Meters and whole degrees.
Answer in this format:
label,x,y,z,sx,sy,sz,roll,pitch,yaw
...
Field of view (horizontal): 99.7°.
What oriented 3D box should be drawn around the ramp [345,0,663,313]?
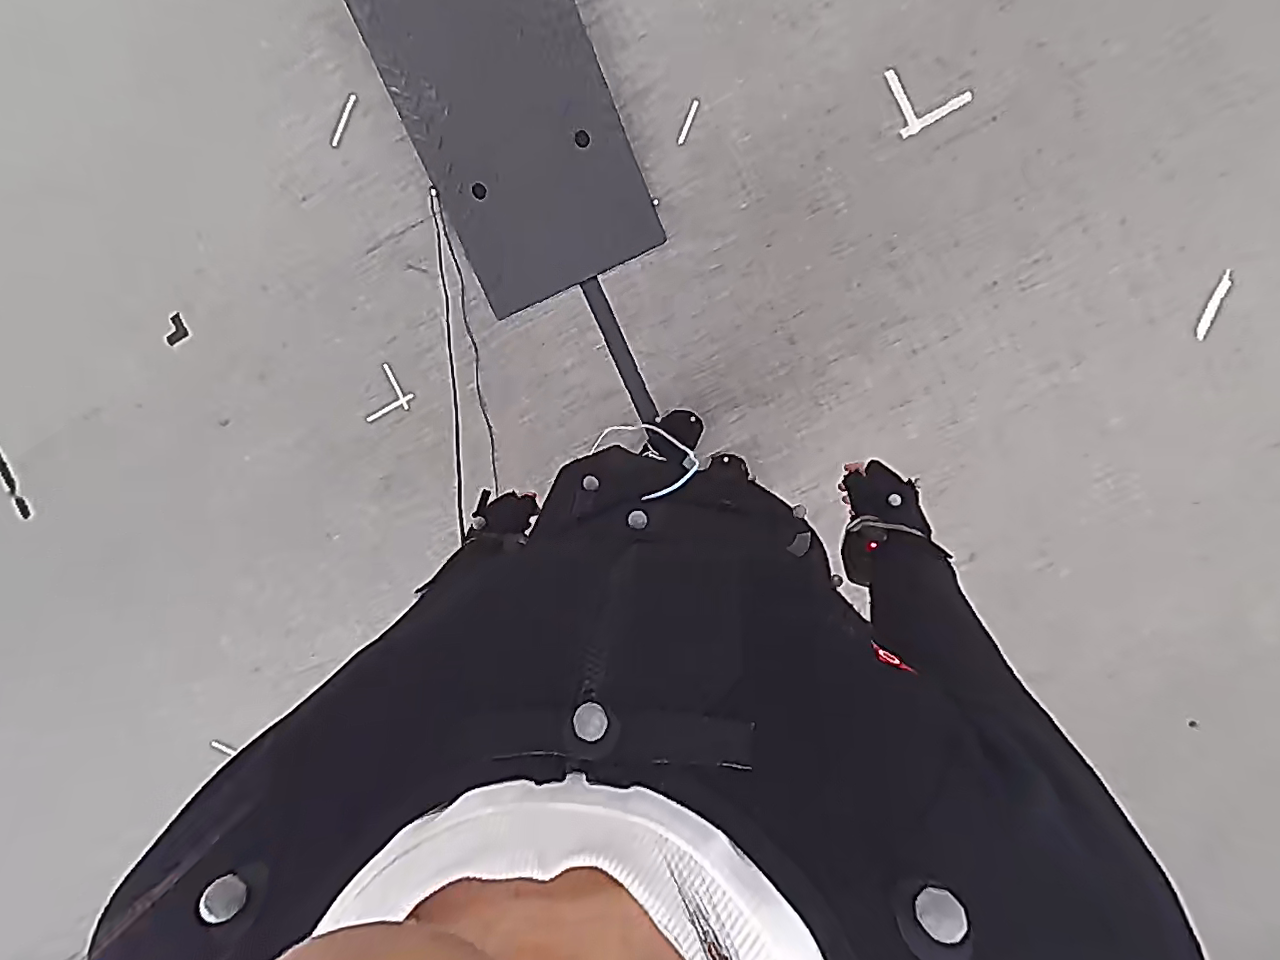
label,x,y,z,sx,sy,sz,roll,pitch,yaw
ramp,-0.352,-0.969,1.281,0.509,0.206,0.991,-24,94,7
